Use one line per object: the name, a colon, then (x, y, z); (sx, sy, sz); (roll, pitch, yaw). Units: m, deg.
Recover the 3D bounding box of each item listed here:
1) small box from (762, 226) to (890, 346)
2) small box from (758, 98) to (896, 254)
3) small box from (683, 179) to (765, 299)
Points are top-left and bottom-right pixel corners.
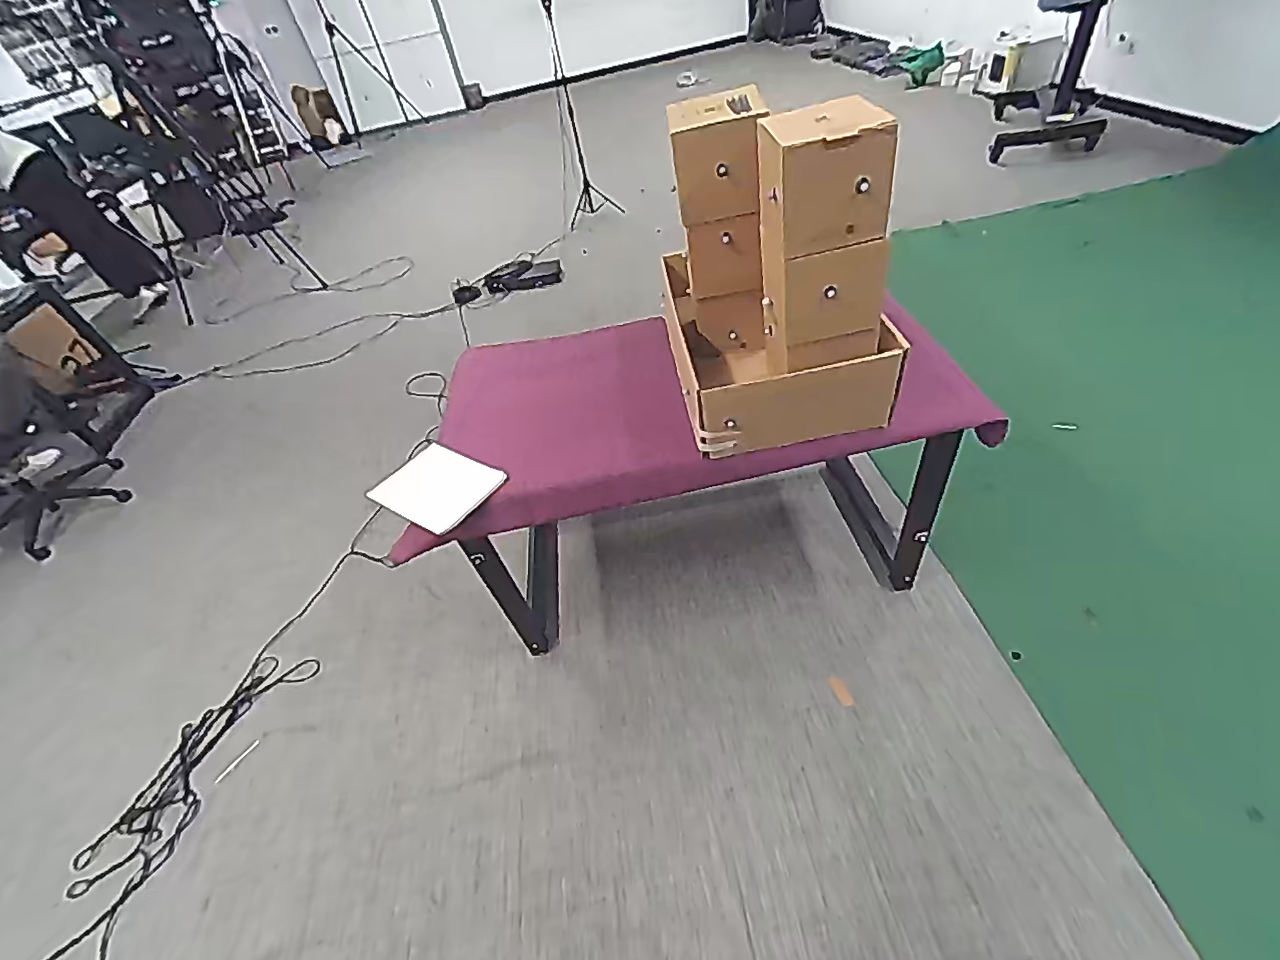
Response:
small box: (0.329, -0.370, 0.987); (0.179, 0.176, 0.168); (-11, 44, 6)
small box: (0.294, -0.486, 0.878); (0.168, 0.176, 0.179); (-10, 44, 6)
small box: (0.191, -0.517, 1.171); (0.179, 0.176, 0.168); (-7, 48, 8)
